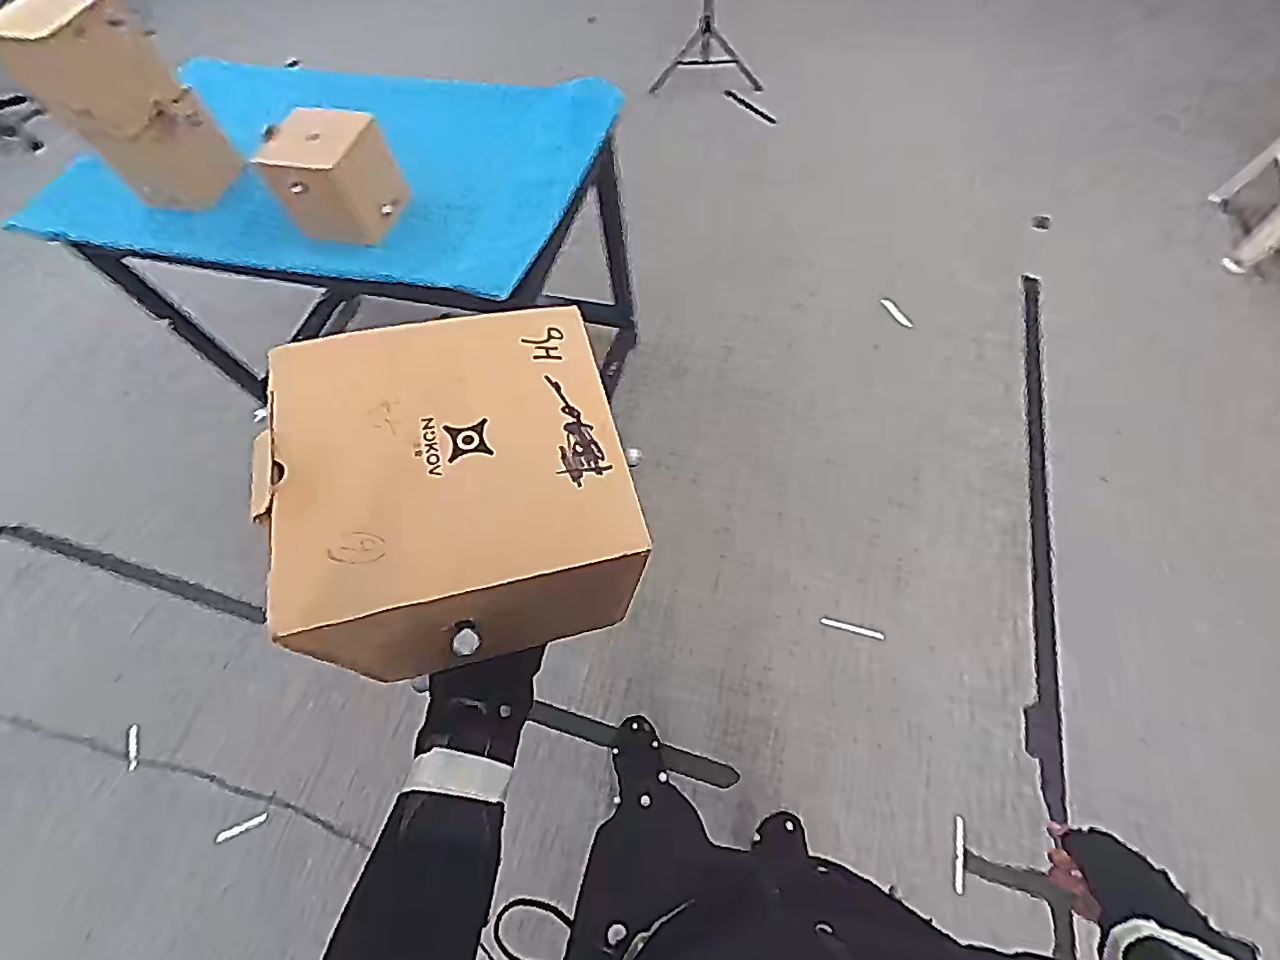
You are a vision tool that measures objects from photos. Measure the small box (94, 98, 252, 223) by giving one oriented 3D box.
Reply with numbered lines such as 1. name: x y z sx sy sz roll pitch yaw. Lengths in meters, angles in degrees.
1. small box: -0.998 -0.697 1.175 0.168 0.176 0.179 13 68 14

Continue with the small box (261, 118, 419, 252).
1. small box: -0.578 -0.577 1.066 0.179 0.176 0.168 11 65 12

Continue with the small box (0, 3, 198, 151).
1. small box: -1.015 -0.760 1.021 0.179 0.176 0.168 13 65 12

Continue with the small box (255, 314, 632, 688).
1. small box: -0.115 0.023 0.359 0.179 0.176 0.168 -15 65 -14
